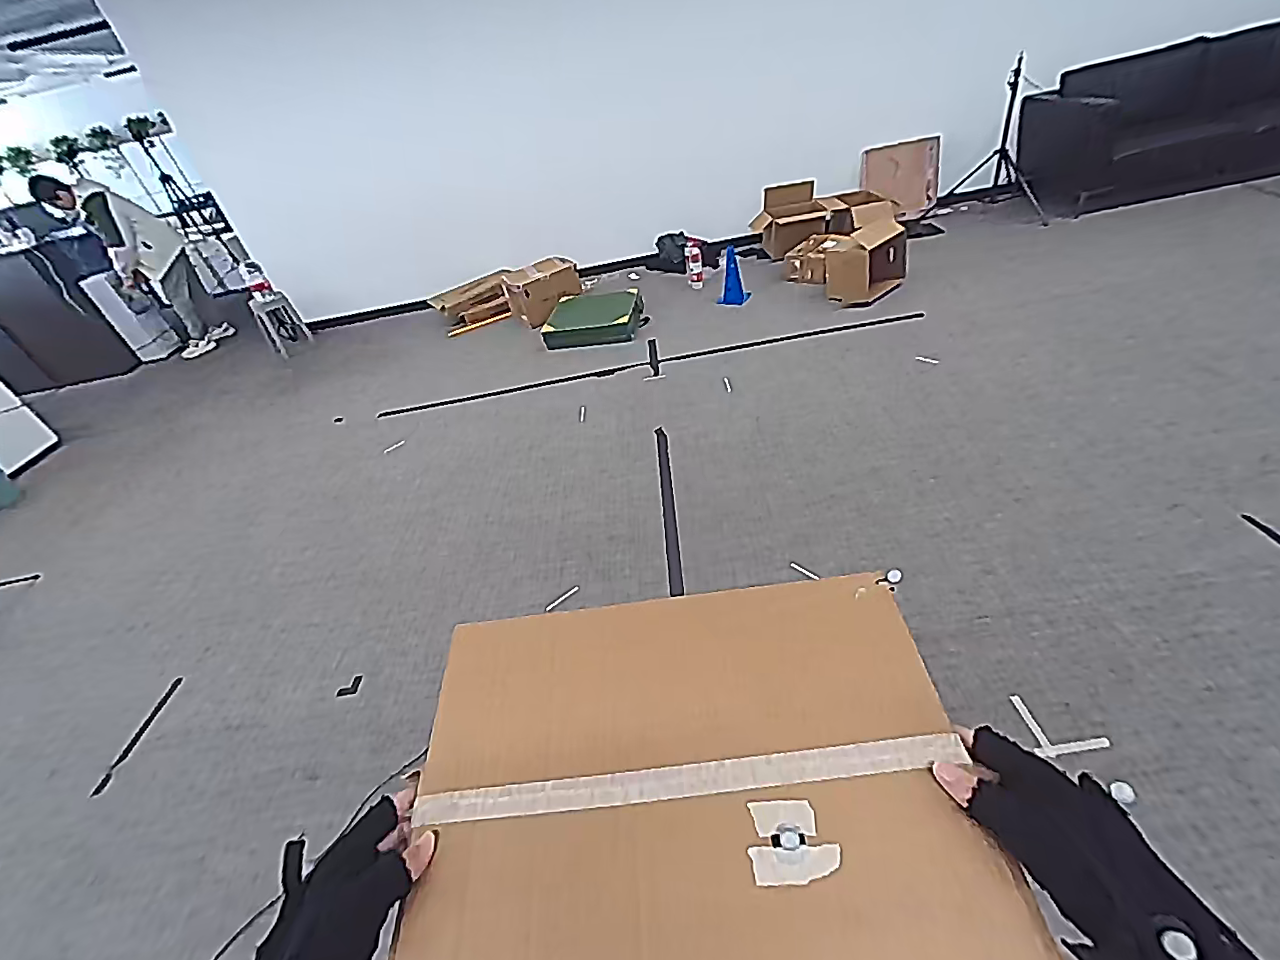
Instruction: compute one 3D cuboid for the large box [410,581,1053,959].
[{"bbox_3d":[0.056,0.334,0.513,0.408,0.320,0.320,-8,45,2],"label":"large box"}]
